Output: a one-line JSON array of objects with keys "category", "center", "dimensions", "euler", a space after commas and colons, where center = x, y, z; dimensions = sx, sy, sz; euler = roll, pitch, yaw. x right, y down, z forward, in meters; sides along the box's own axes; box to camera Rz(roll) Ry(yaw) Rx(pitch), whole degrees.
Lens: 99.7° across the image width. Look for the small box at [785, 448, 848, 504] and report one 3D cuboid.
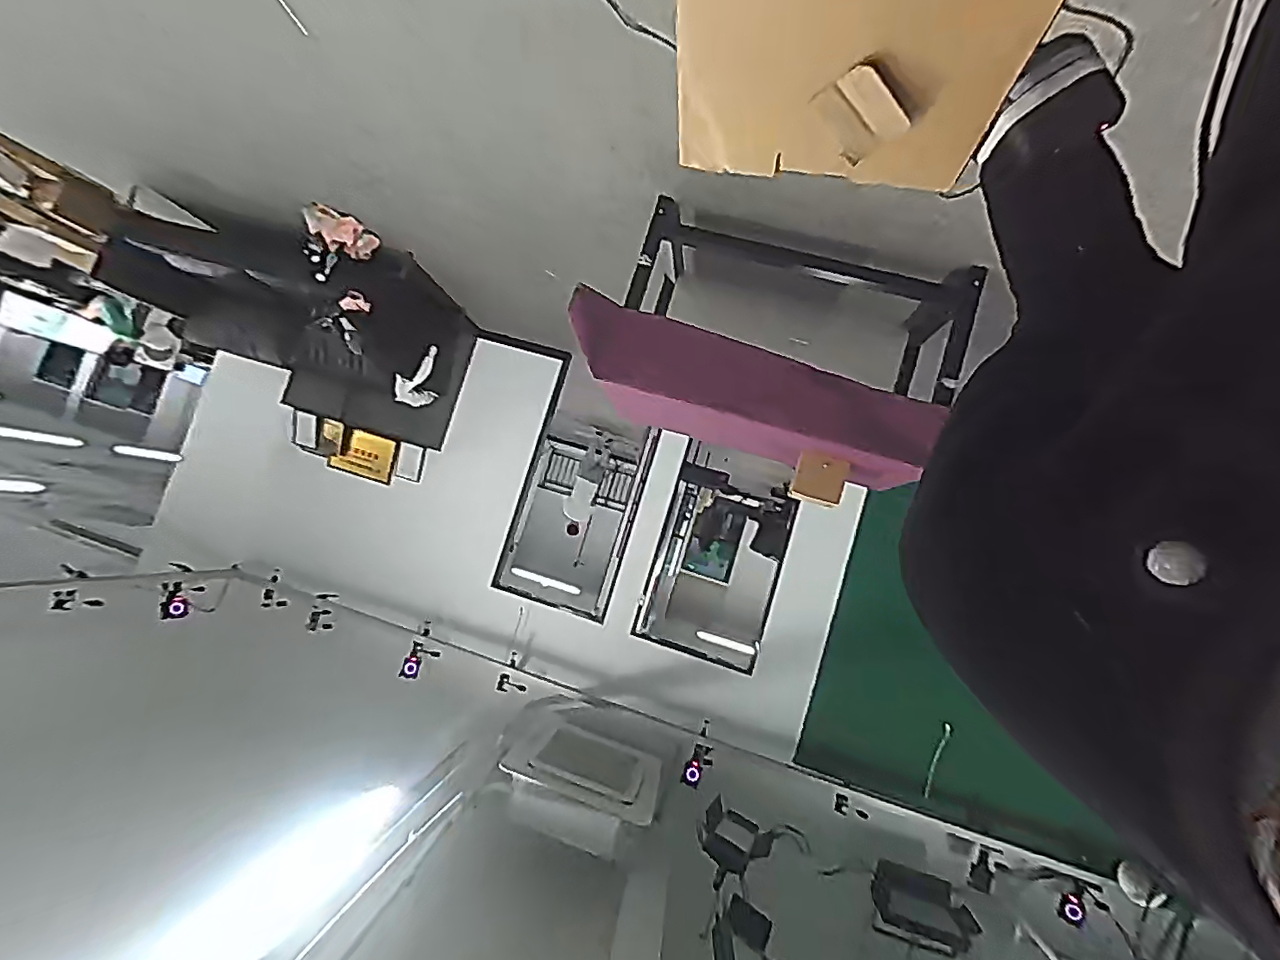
[{"category": "small box", "center": [0.681, -0.018, 2.089], "dimensions": [0.179, 0.176, 0.168], "euler": [17, 176, 10]}]
